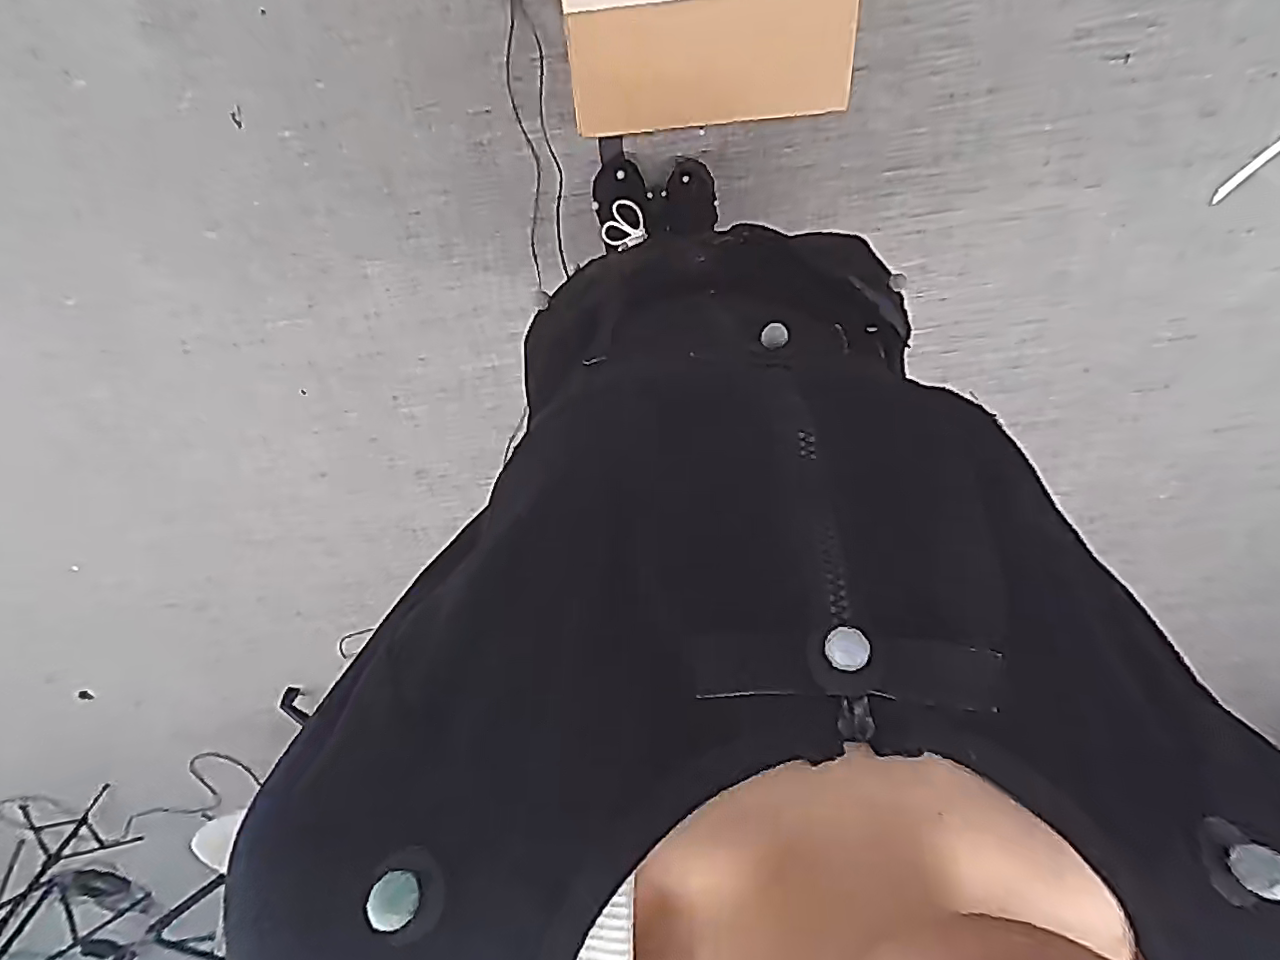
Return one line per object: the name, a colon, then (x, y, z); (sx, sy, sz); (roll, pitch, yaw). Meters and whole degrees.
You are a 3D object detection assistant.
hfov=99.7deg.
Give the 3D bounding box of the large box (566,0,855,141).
large box: (0.093, -0.746, 0.859); (0.408, 0.320, 0.320); (-5, 124, 2)
